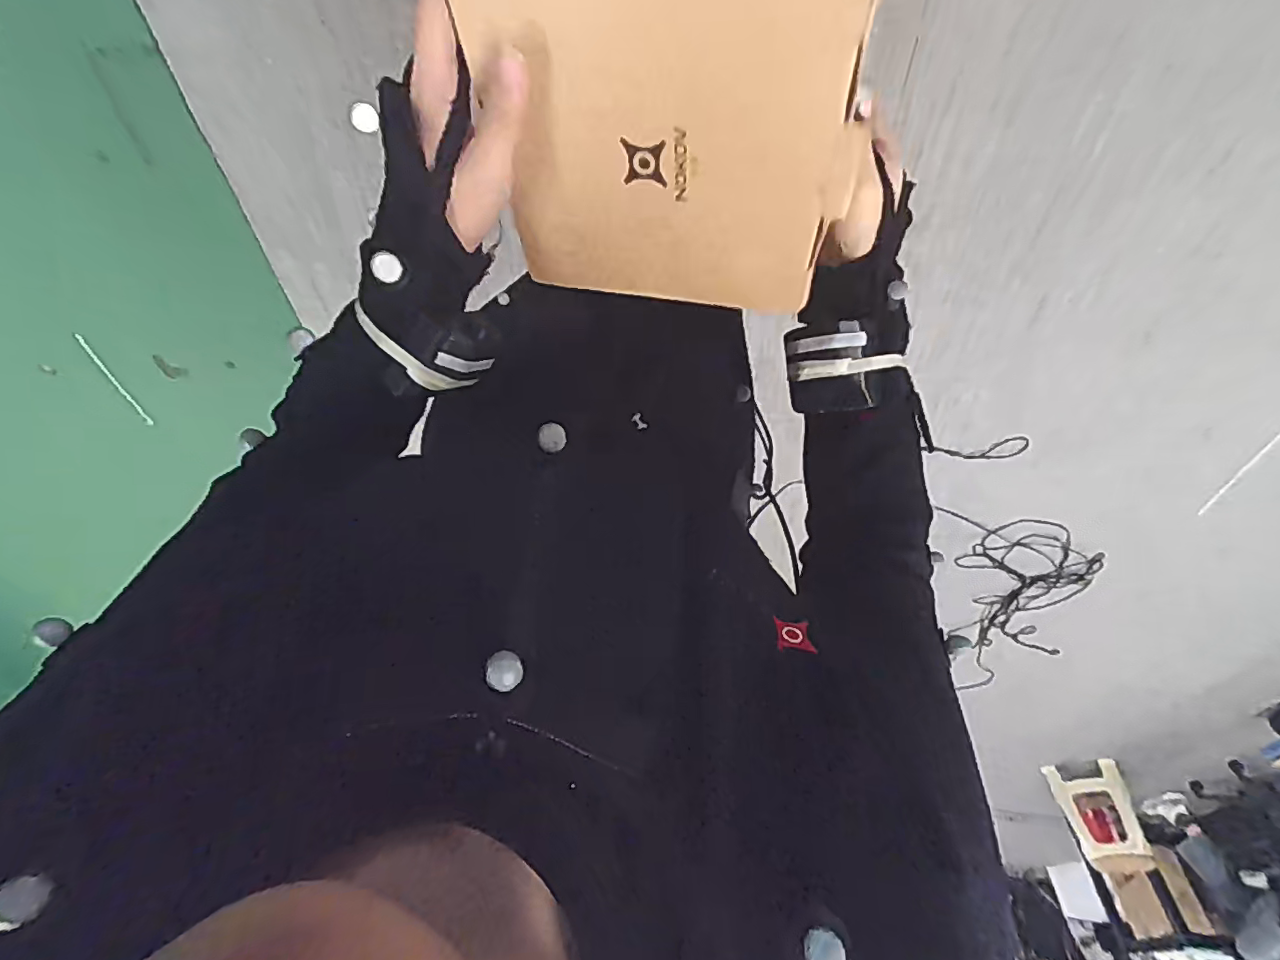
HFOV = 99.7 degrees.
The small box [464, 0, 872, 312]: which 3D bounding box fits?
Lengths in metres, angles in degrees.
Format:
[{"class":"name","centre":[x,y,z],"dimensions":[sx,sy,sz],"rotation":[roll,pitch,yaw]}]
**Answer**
[{"class":"small box","centre":[0.030,-0.230,0.314],"dimensions":[0.179,0.176,0.168],"rotation":[13,152,11]}]
